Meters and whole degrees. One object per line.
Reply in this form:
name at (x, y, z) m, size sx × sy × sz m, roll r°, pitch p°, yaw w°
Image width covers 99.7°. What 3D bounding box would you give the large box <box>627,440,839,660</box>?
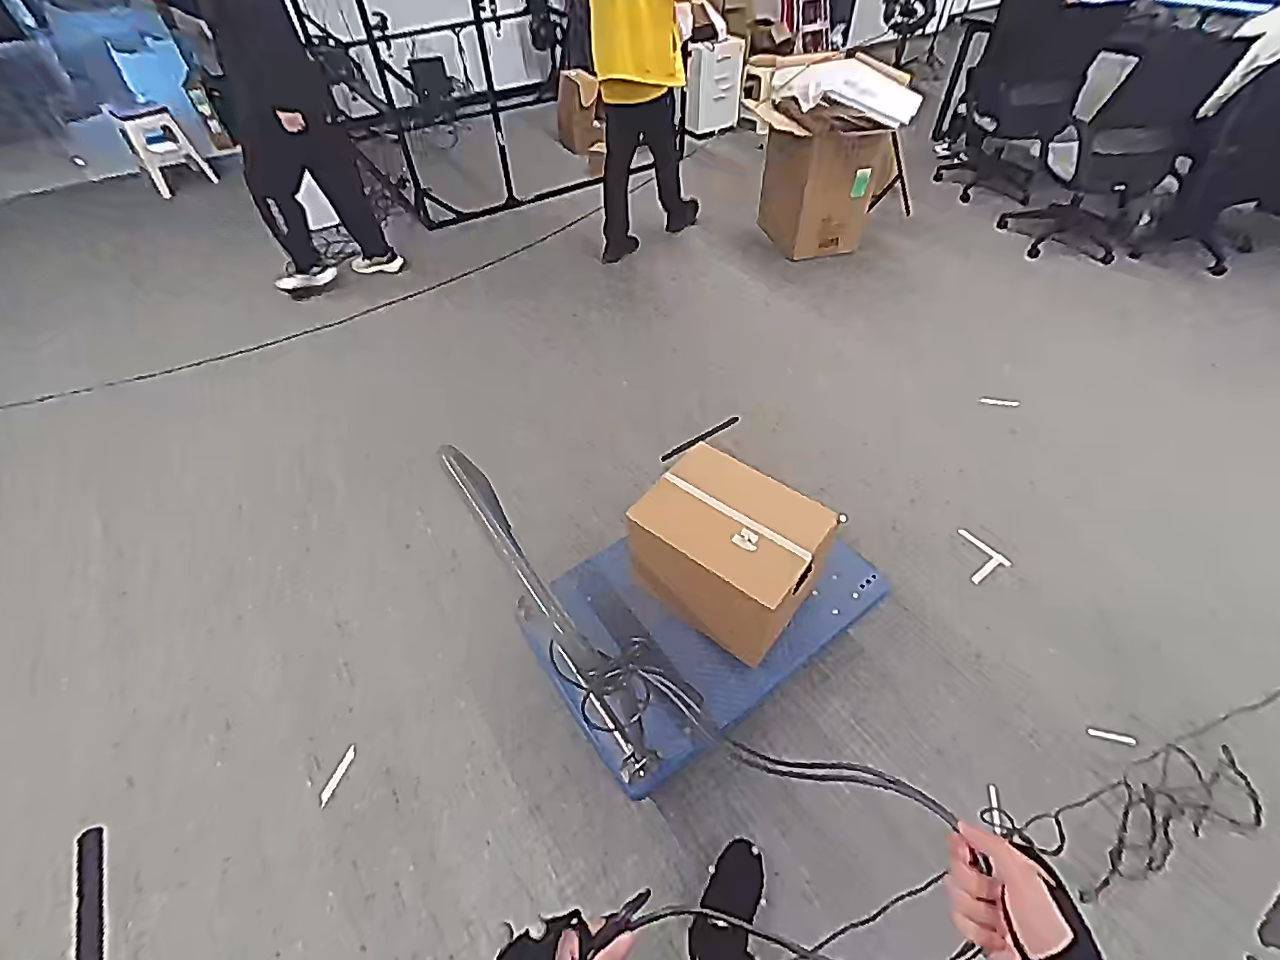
large box at (0.215, 0.172, 1.369) m, size 0.408 × 0.320 × 0.320 m, roll 31°, pitch 58°, yaw 25°
